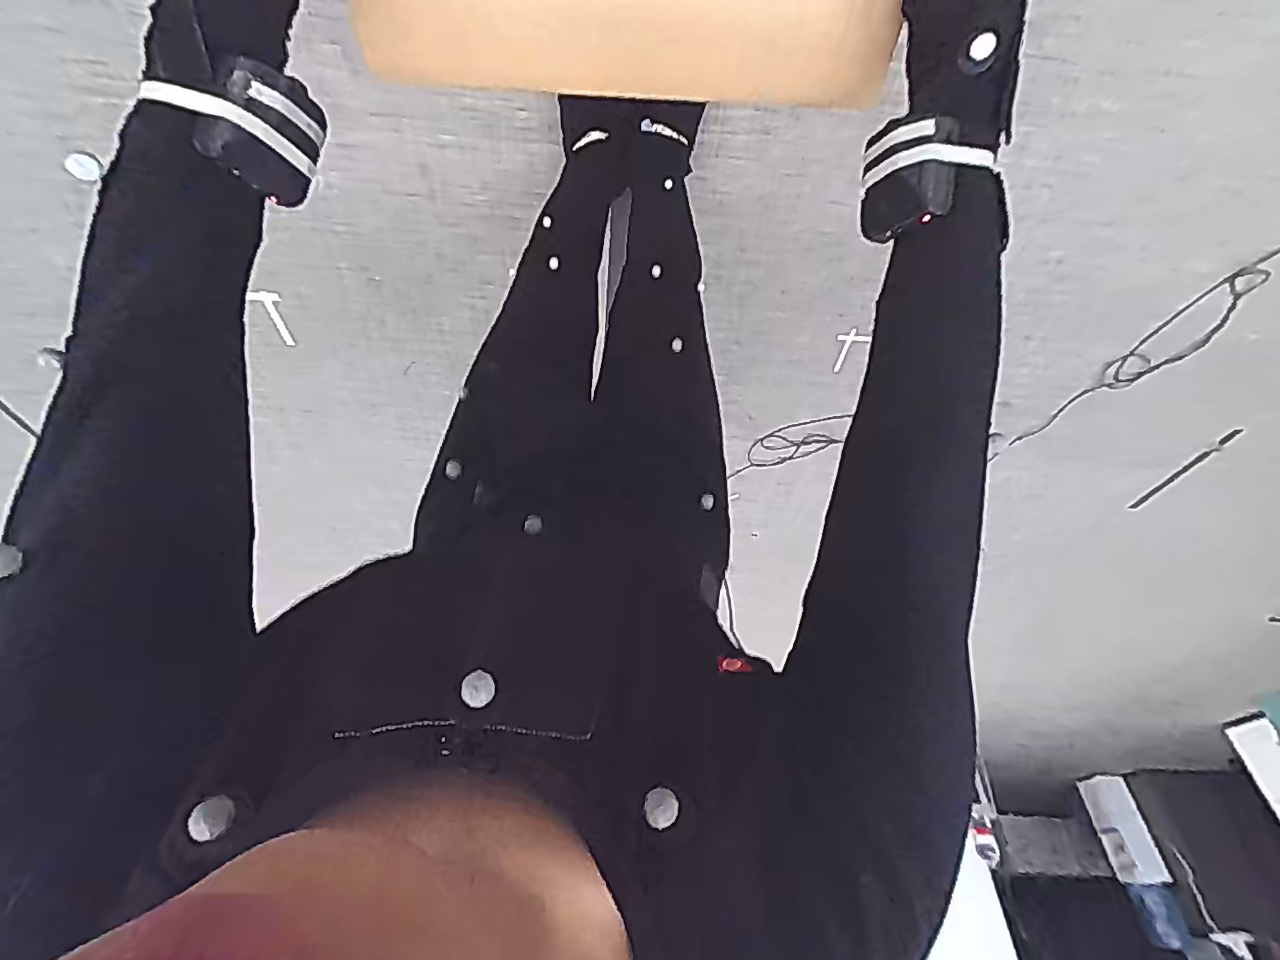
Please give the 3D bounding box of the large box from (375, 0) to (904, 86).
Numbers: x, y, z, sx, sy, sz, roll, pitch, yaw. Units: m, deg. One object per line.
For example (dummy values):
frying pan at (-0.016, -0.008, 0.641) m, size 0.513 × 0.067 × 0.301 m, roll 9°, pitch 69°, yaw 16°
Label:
large box at (0.002, -0.538, 0.417) m, size 0.408 × 0.320 × 0.320 m, roll 3°, pitch 142°, yaw 0°
